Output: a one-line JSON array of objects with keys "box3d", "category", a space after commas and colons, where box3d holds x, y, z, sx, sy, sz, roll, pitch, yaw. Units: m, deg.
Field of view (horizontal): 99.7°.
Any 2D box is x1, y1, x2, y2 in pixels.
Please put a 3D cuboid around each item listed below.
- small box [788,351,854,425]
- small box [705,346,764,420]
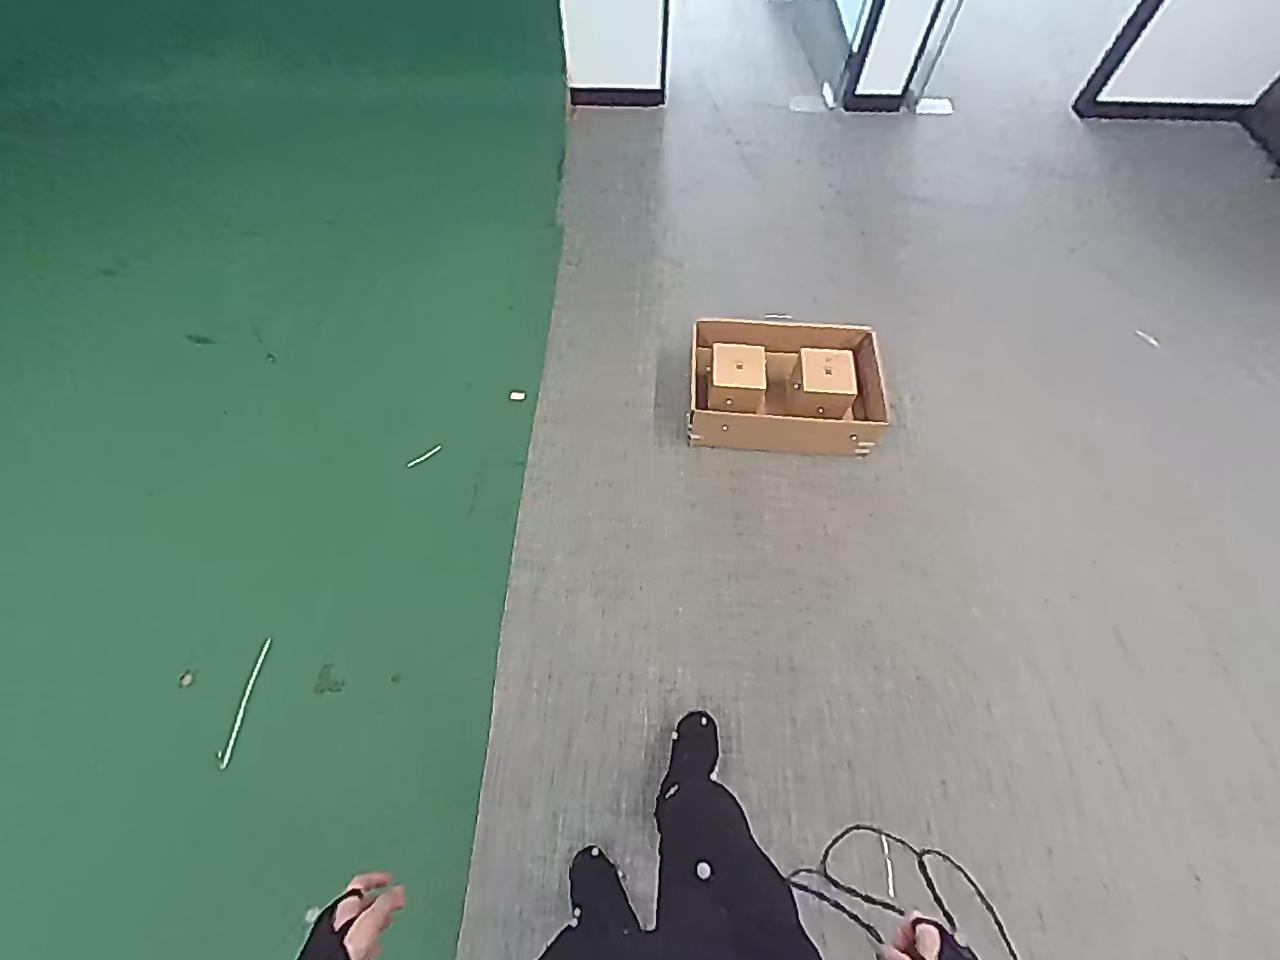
[{"box3d": [0.590, -0.298, 1.779, 0.168, 0.176, 0.179, 5, 62, 2], "category": "small box"}, {"box3d": [0.309, -0.315, 1.783, 0.168, 0.176, 0.179, 4, 61, 1], "category": "small box"}]
